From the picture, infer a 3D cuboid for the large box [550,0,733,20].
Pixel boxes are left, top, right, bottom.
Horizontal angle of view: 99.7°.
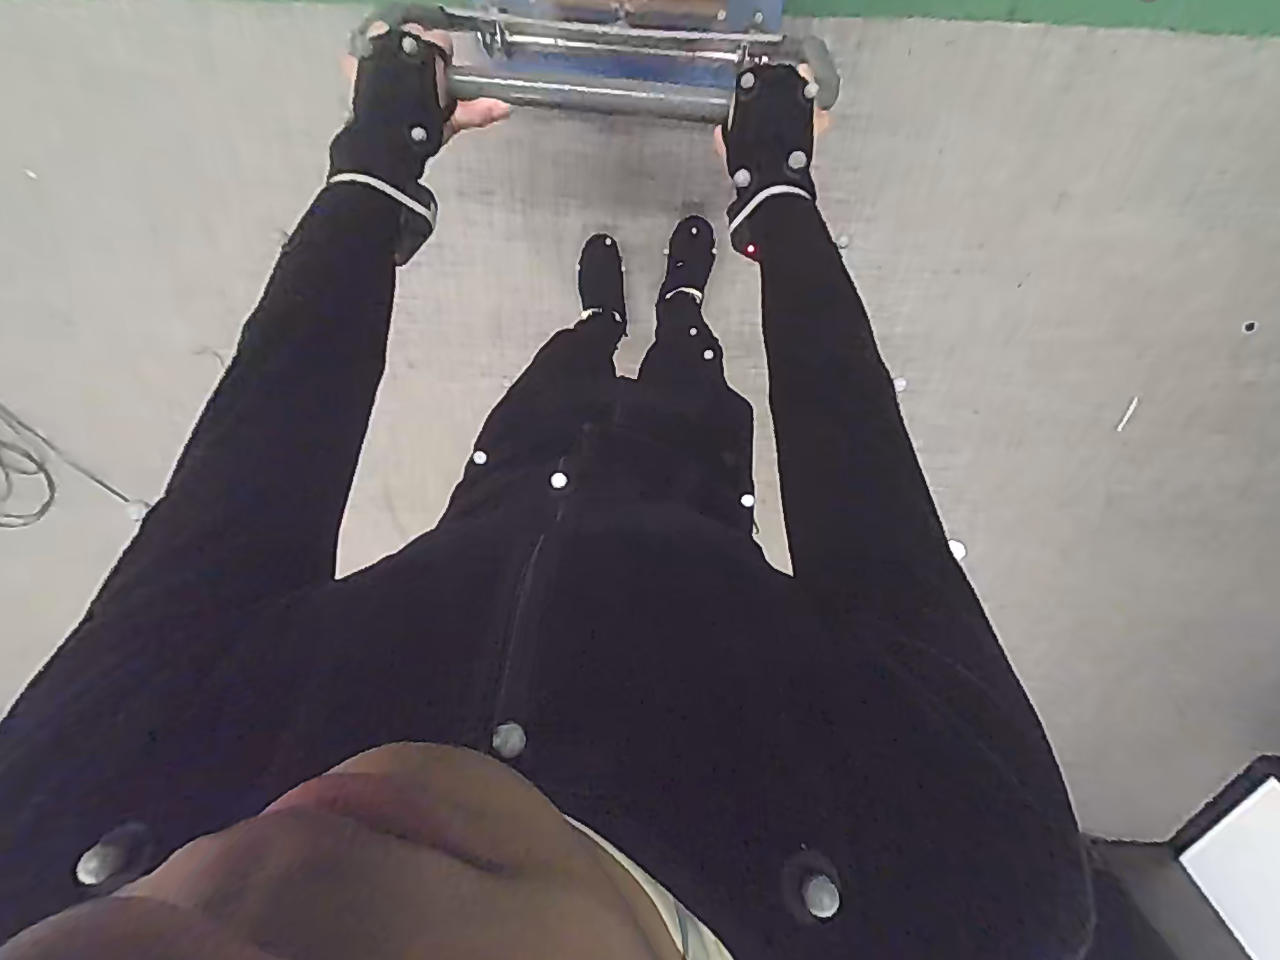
[{"bbox_3d":[0.006,-0.938,0.770,0.320,0.320,0.408,4,125,-1],"label":"large box"}]
